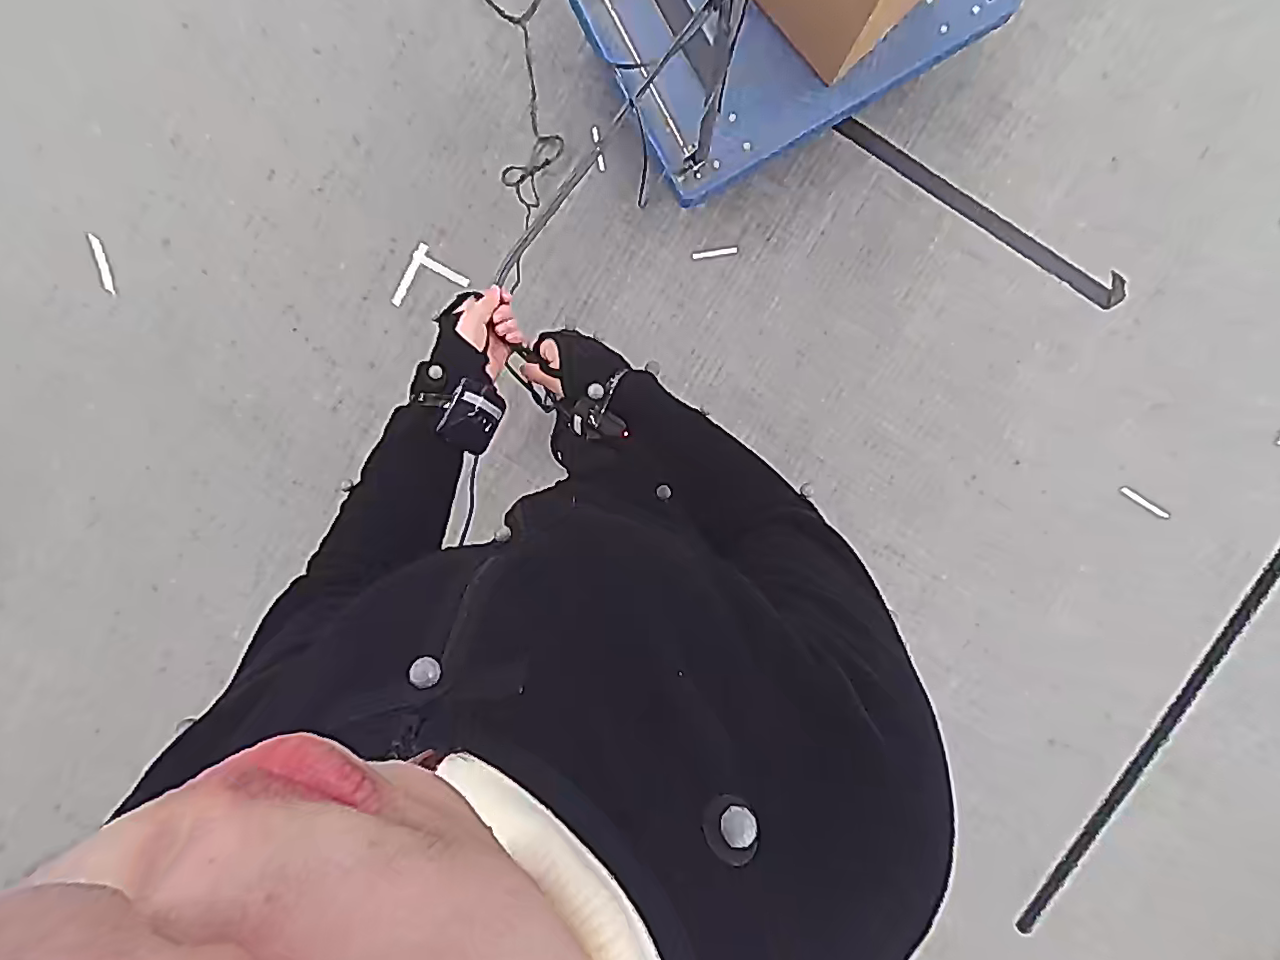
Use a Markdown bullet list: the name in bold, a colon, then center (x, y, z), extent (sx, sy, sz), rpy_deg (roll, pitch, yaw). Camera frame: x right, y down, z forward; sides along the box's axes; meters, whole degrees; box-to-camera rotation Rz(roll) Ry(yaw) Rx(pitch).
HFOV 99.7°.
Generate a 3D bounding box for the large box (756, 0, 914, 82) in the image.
- **large box**: center (0.394, -1.113, 1.037), extent (0.320, 0.320, 0.408), rpy_deg (-44, 95, 4)
